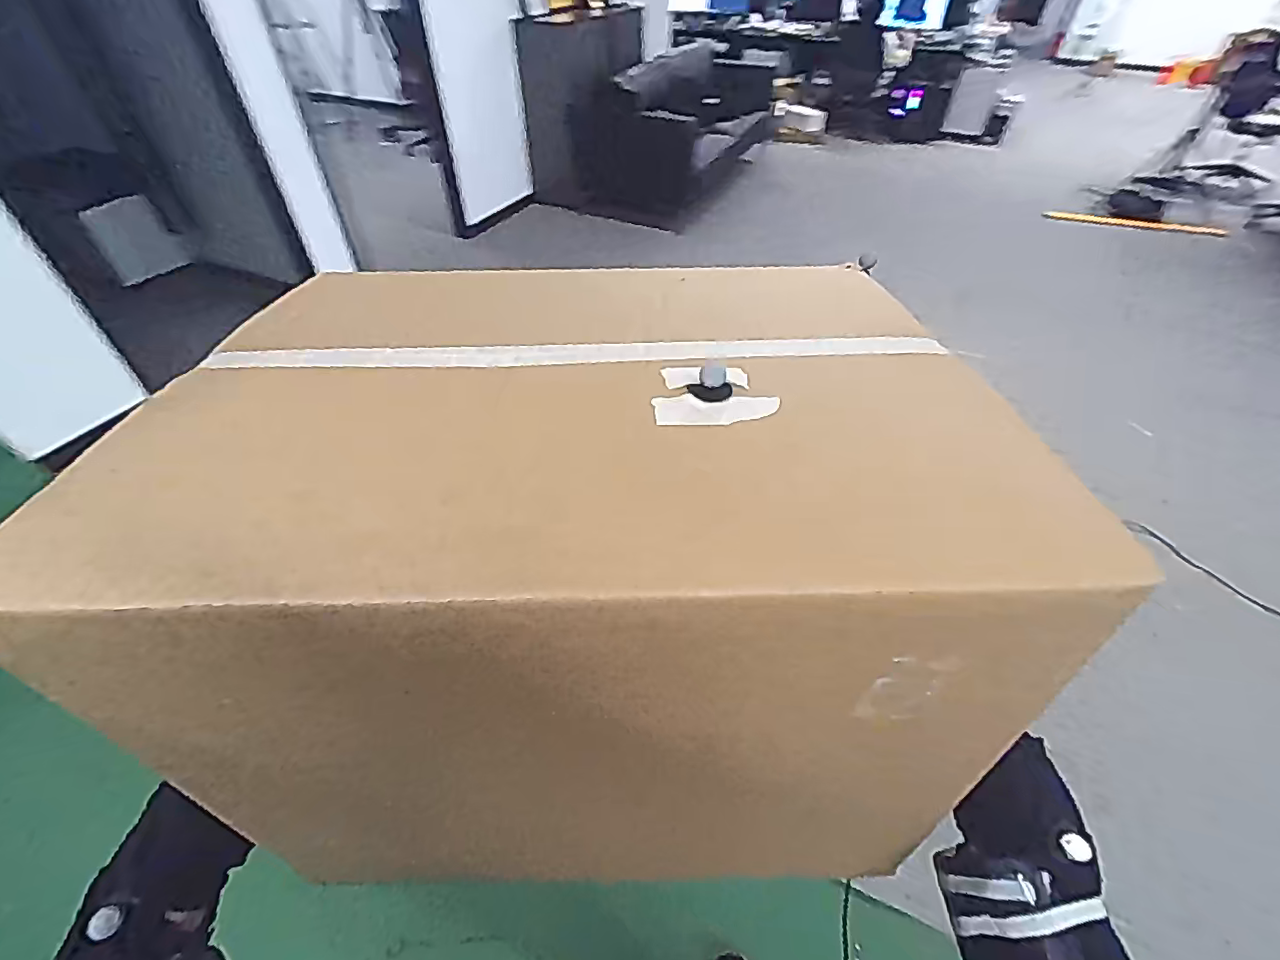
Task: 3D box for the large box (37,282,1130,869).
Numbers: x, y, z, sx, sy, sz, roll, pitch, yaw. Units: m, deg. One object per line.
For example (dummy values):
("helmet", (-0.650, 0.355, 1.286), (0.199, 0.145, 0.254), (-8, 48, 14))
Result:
("large box", (-0.021, 0.057, 0.401), (0.408, 0.320, 0.320), (0, 40, 0))
